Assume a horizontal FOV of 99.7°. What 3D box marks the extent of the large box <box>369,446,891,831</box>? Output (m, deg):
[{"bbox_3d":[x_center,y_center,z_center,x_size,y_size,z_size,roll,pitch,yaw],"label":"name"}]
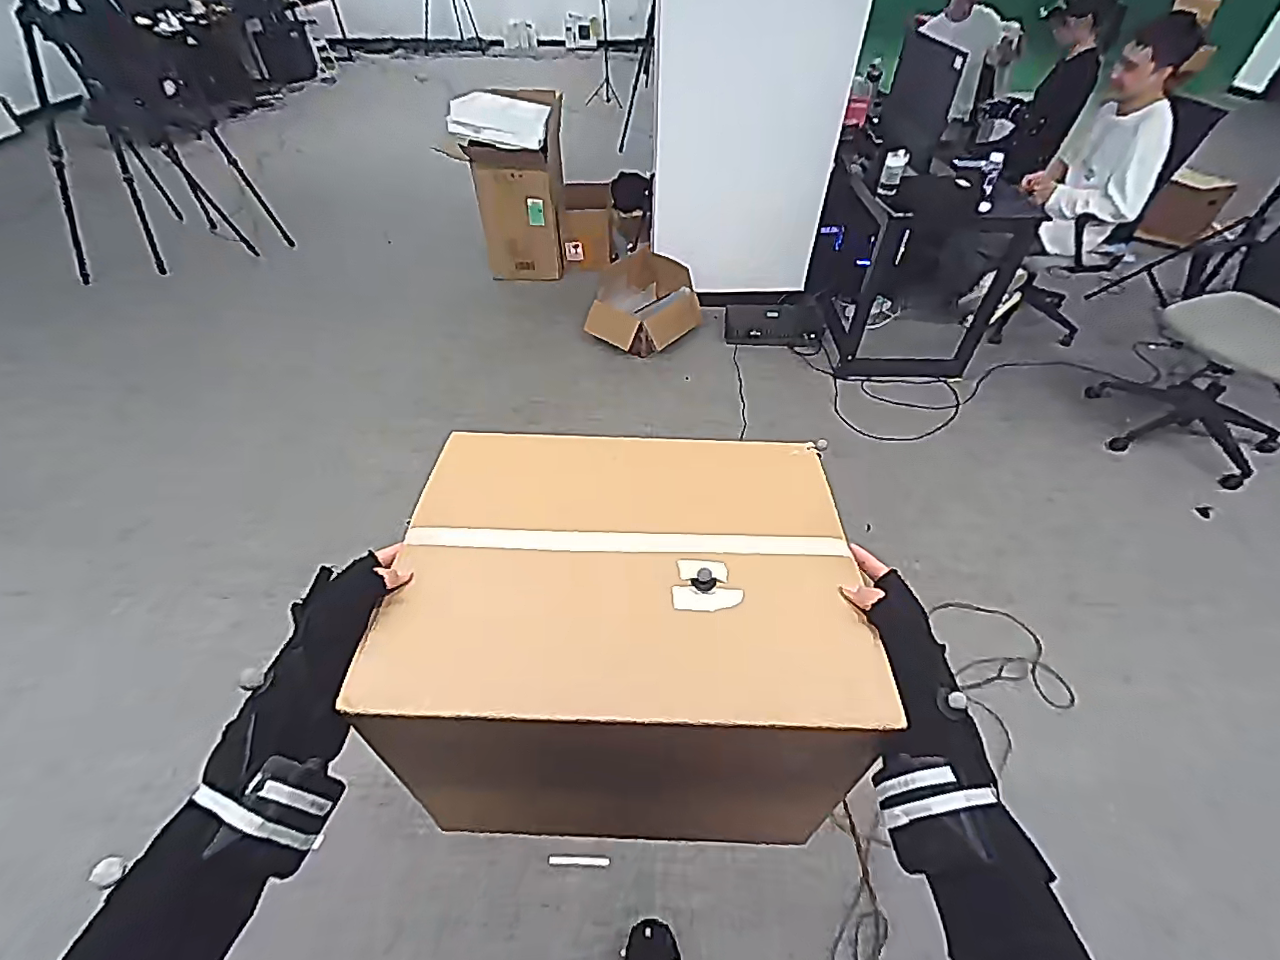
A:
[{"bbox_3d":[-0.010,0.177,0.613,0.408,0.320,0.320,2,44,0],"label":"large box"}]
